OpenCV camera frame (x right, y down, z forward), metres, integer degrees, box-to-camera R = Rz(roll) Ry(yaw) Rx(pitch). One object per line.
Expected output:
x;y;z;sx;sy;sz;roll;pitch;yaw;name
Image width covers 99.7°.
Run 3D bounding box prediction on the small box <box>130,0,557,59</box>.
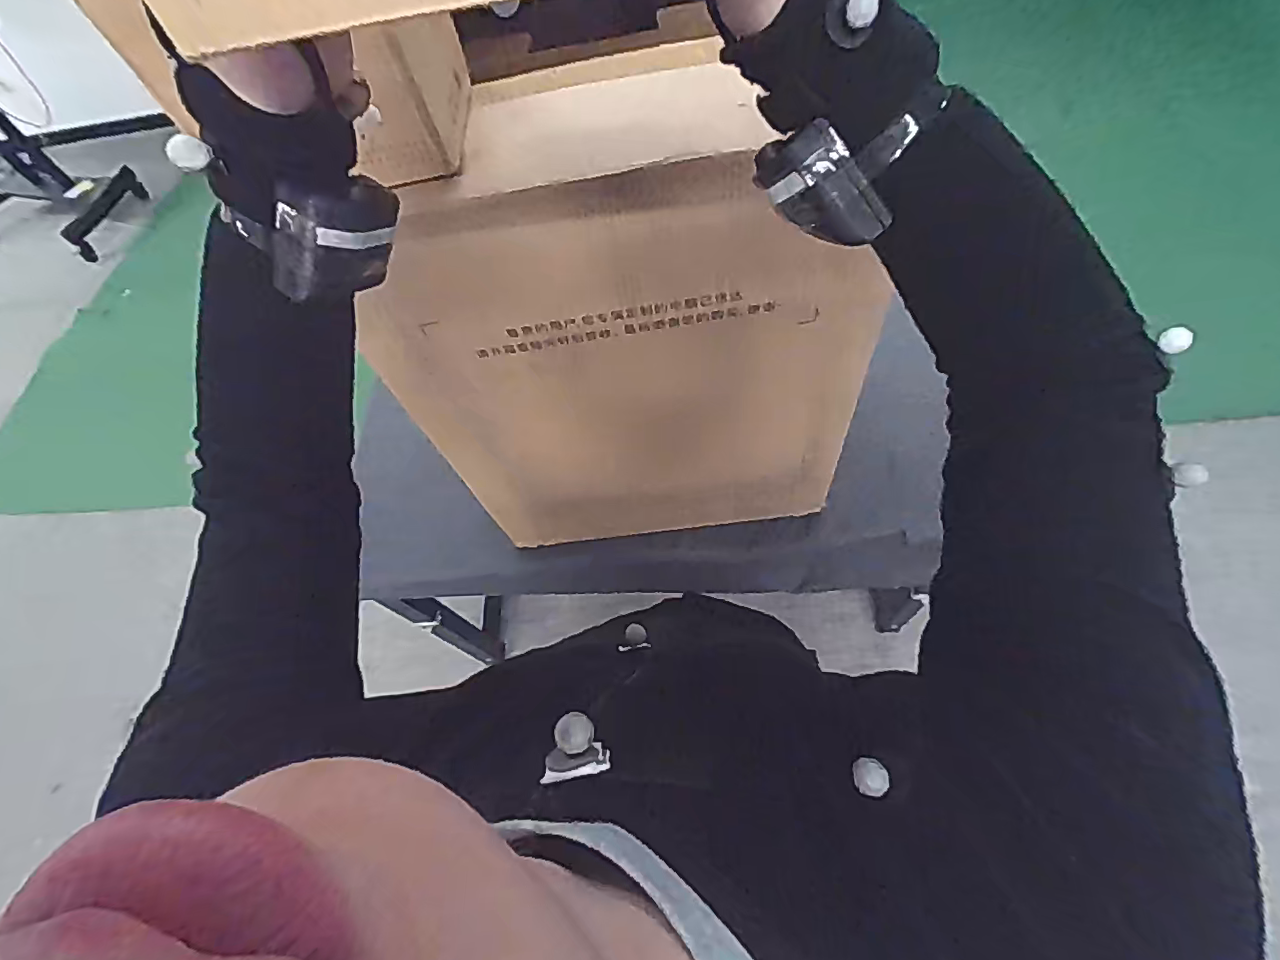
-0.066;-0.245;0.139;0.168;0.179;0.176;-4;50;7;small box
